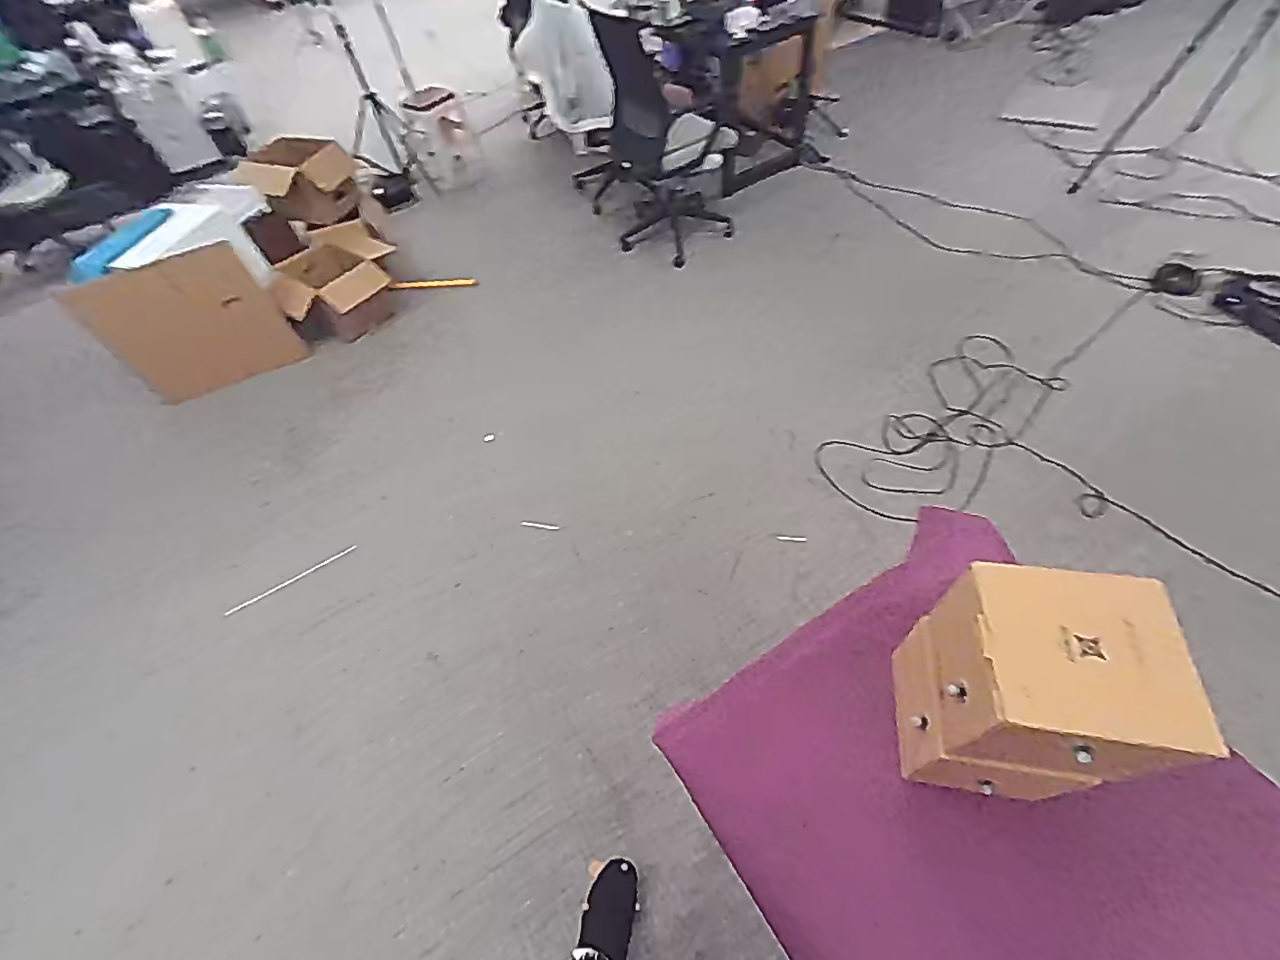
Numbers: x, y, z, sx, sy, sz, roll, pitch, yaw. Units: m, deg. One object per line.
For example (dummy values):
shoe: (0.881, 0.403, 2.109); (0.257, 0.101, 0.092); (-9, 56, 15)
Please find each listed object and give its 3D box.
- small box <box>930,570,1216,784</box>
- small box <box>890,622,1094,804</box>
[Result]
small box: (0.431, 0.216, 0.584); (0.179, 0.176, 0.168); (5, 56, 12)
small box: (0.443, 0.311, 0.716); (0.168, 0.176, 0.179); (6, 54, 11)
